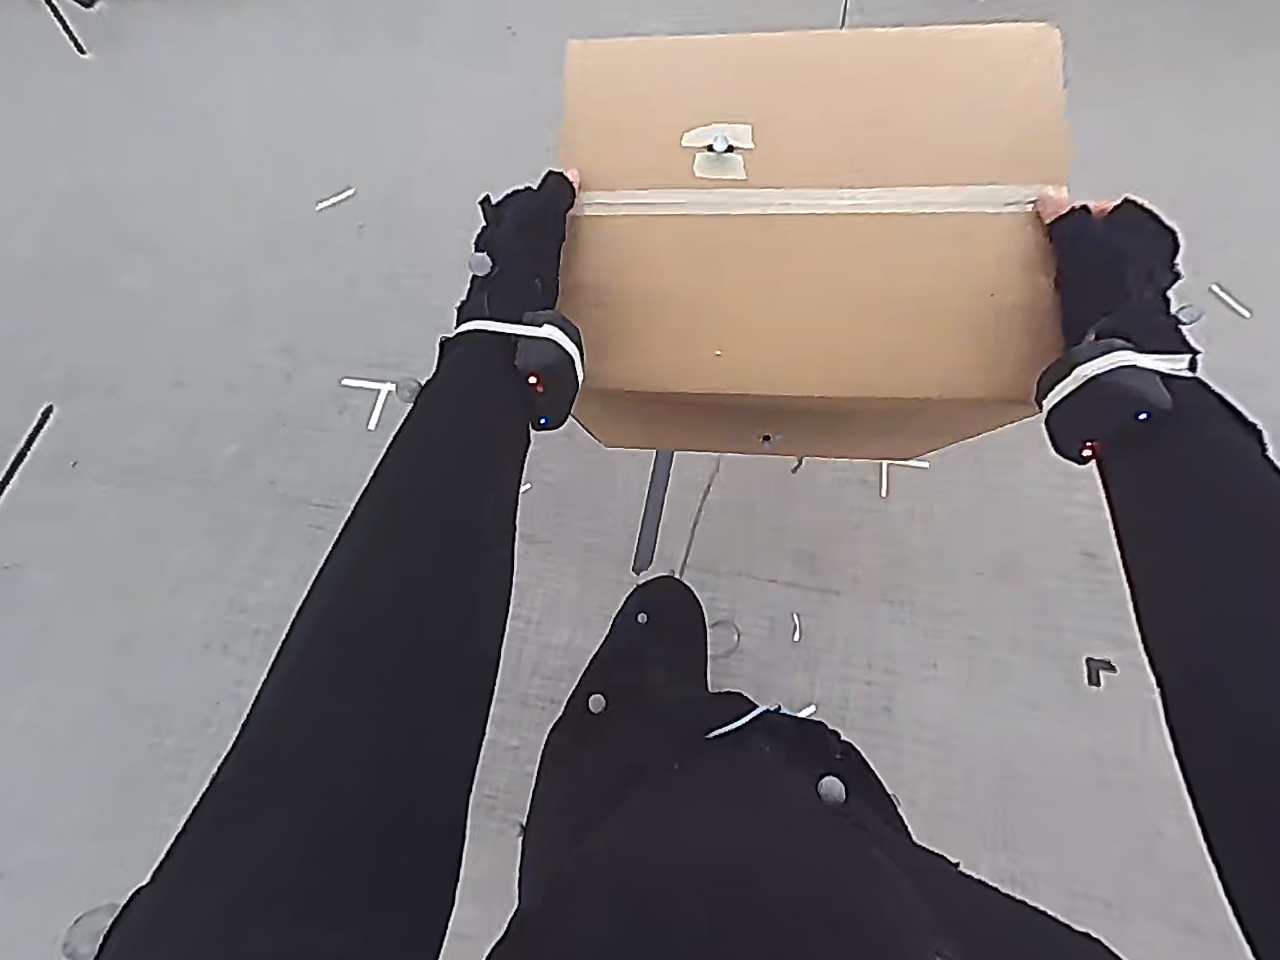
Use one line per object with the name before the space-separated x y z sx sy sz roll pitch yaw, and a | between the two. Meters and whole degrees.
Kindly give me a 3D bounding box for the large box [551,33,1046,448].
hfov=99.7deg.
large box | 0.146 -0.211 0.604 0.408 0.320 0.320 3 84 7
